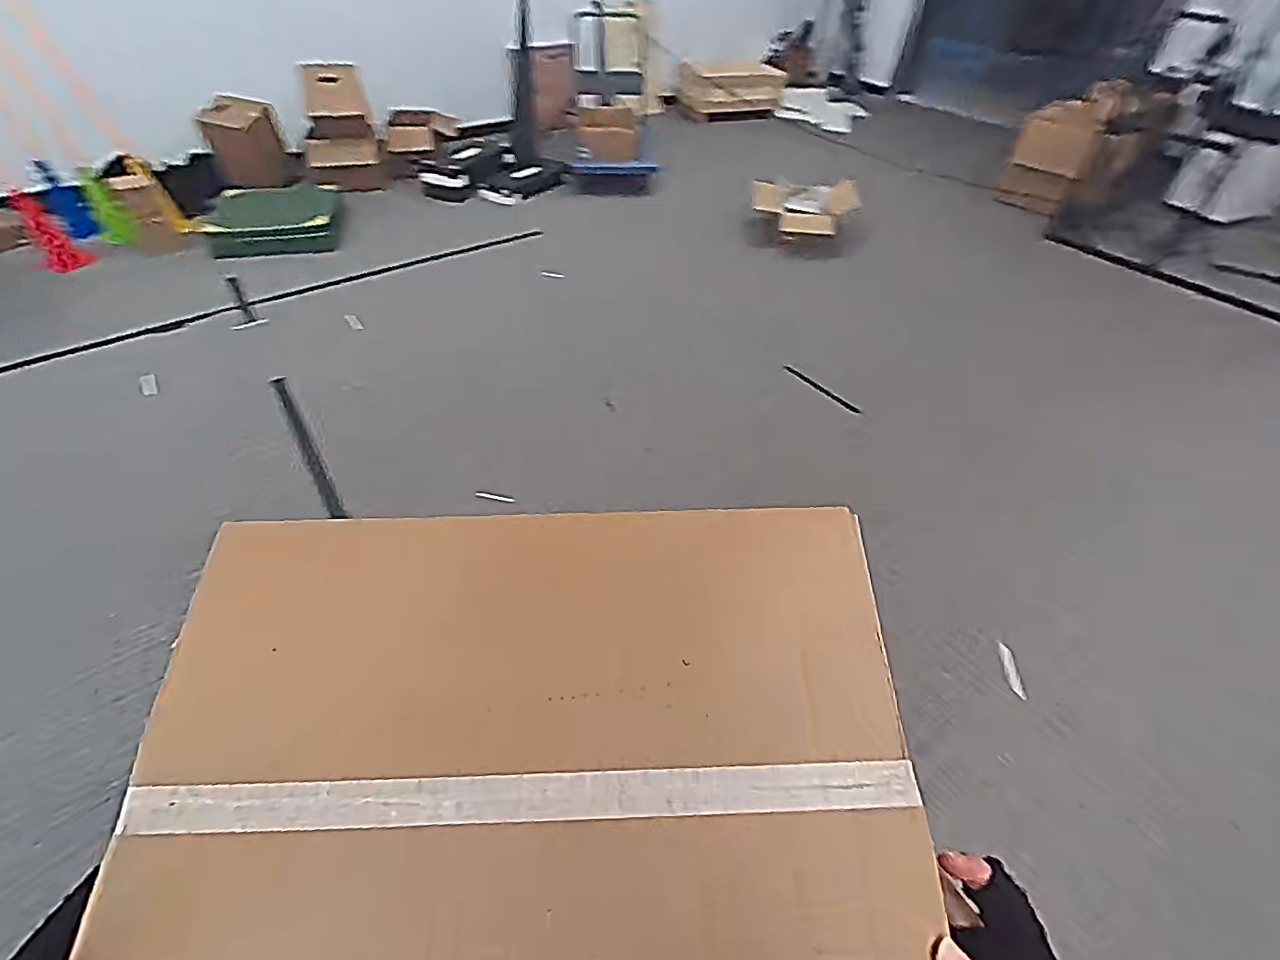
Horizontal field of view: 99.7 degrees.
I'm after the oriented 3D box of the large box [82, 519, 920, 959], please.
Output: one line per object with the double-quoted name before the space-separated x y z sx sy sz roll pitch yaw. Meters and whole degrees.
"large box" -0.067 0.239 0.420 0.408 0.320 0.320 -3 63 -1
